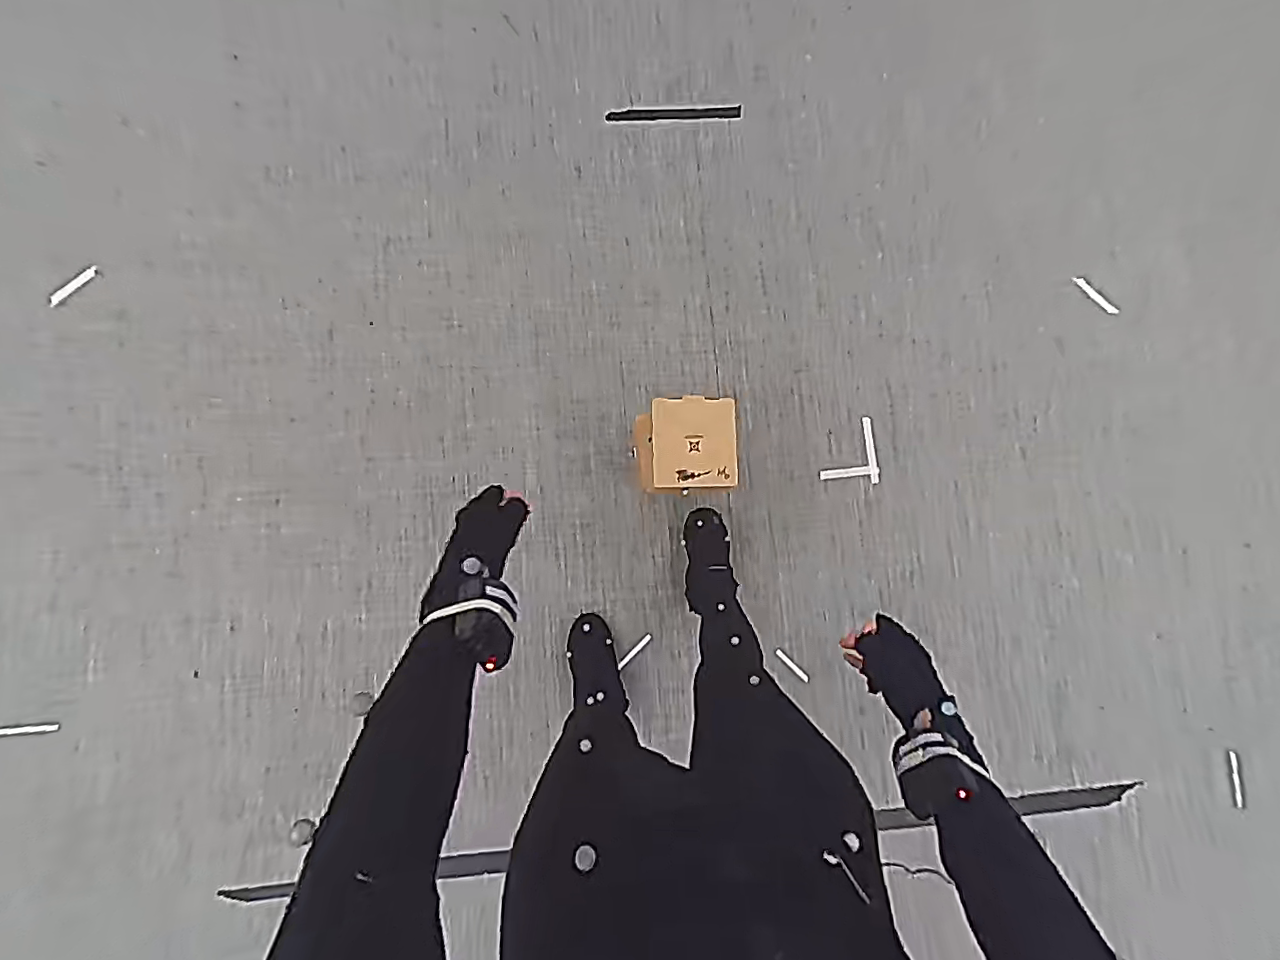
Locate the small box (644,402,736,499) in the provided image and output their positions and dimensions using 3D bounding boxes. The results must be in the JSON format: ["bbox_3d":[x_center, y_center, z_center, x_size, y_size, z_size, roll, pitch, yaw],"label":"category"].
[{"bbox_3d":[0.096,-0.056,1.125,0.168,0.176,0.179,0,83,-5],"label":"small box"}]

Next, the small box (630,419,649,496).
[{"bbox_3d":[0.074,-0.055,1.288,0.179,0.176,0.168,-7,84,-5],"label":"small box"}]
